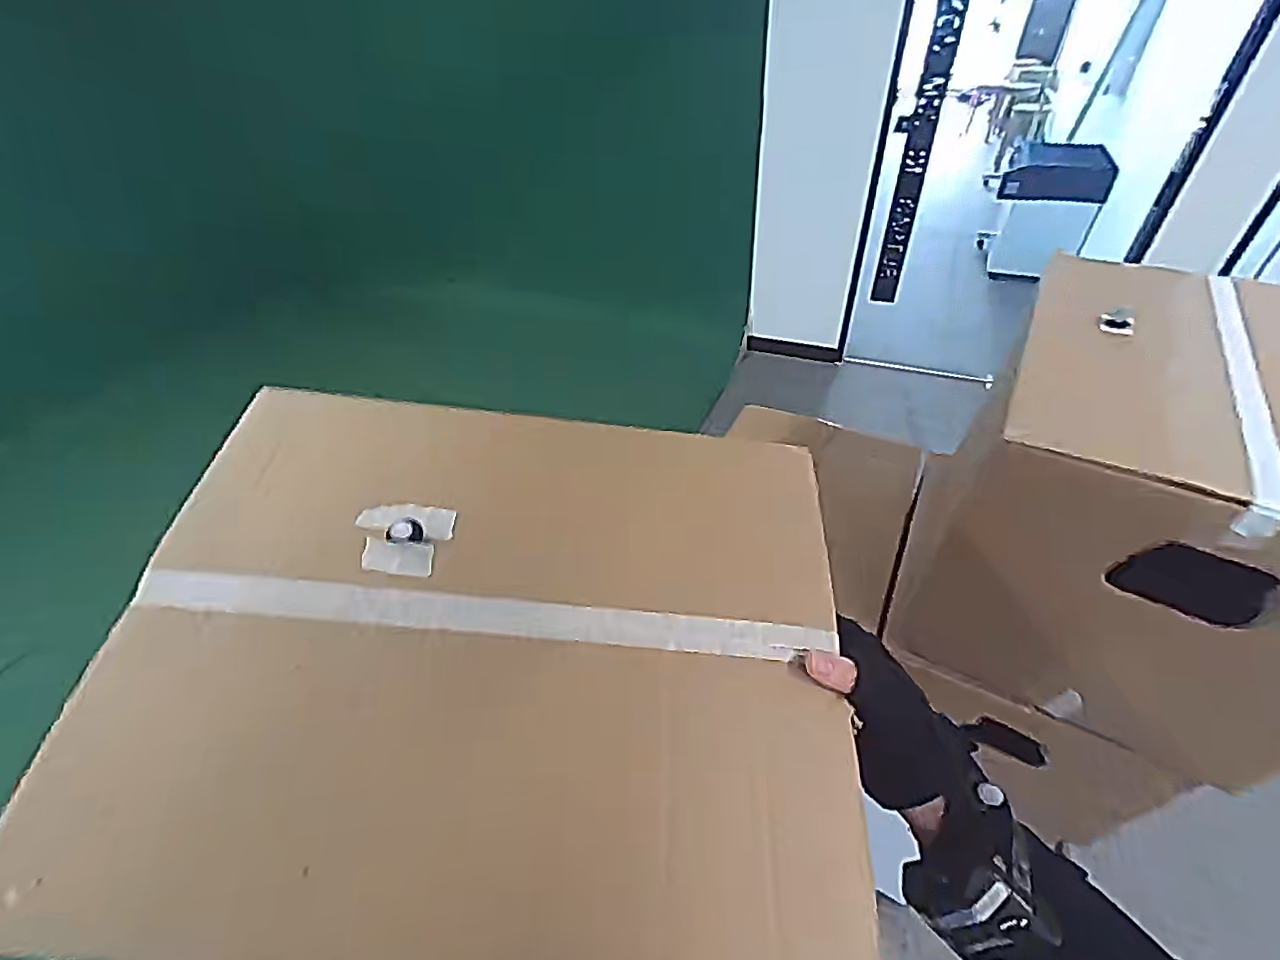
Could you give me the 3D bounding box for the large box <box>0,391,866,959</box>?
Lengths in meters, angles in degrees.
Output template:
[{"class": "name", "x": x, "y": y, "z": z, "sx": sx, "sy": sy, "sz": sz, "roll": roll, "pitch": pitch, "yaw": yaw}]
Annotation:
[{"class": "large box", "x": -0.093, "y": 0.159, "z": 0.442, "sx": 0.408, "sy": 0.320, "sz": 0.320, "roll": 6, "pitch": 56, "yaw": 0}]
